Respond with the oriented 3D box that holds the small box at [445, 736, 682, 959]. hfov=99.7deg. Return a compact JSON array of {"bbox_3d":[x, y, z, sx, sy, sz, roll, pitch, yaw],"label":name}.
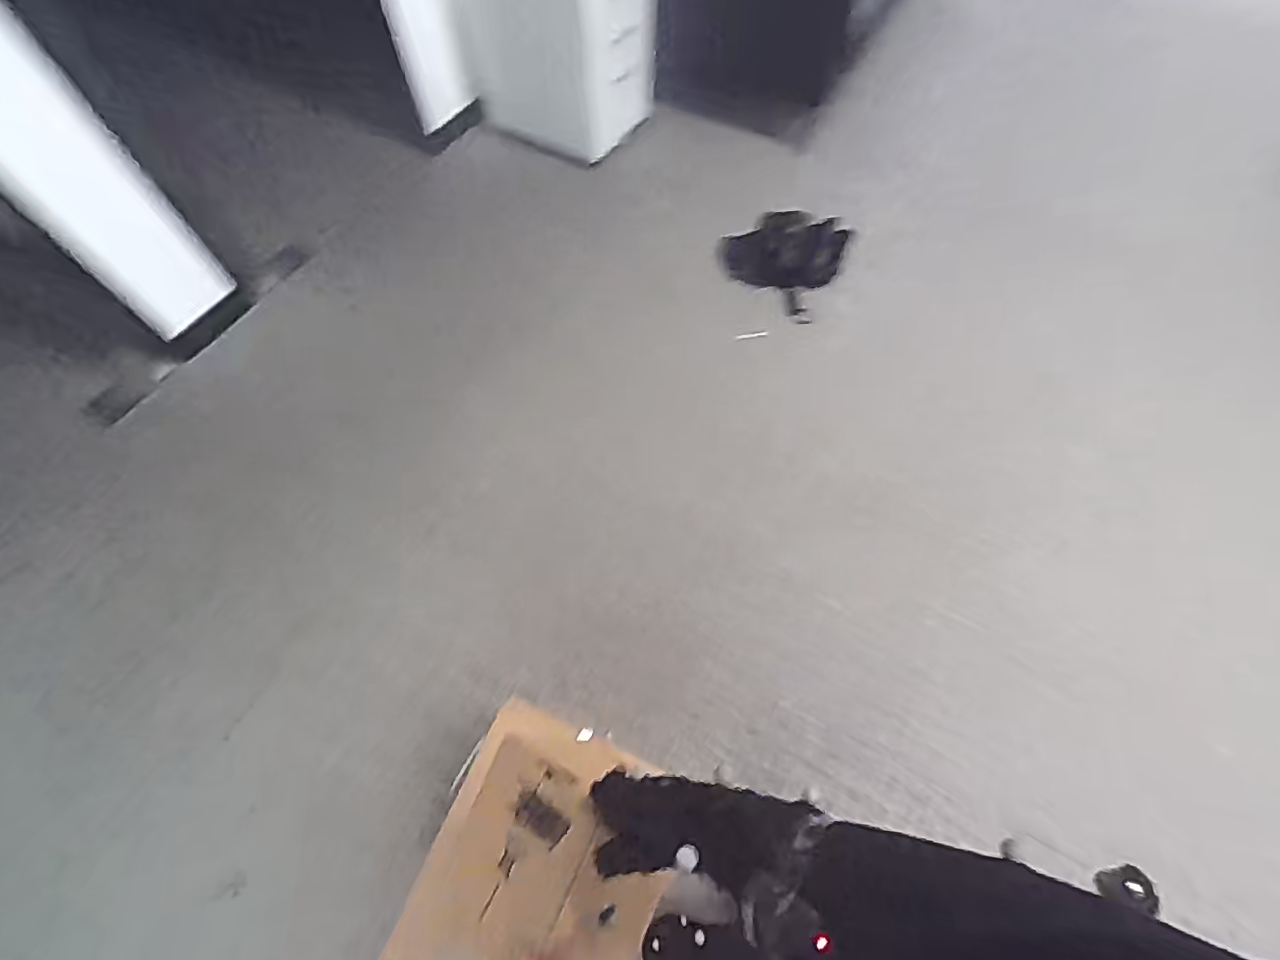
[{"bbox_3d":[-0.077,0.418,0.609,0.168,0.176,0.179,15,76,45],"label":"small box"}]
